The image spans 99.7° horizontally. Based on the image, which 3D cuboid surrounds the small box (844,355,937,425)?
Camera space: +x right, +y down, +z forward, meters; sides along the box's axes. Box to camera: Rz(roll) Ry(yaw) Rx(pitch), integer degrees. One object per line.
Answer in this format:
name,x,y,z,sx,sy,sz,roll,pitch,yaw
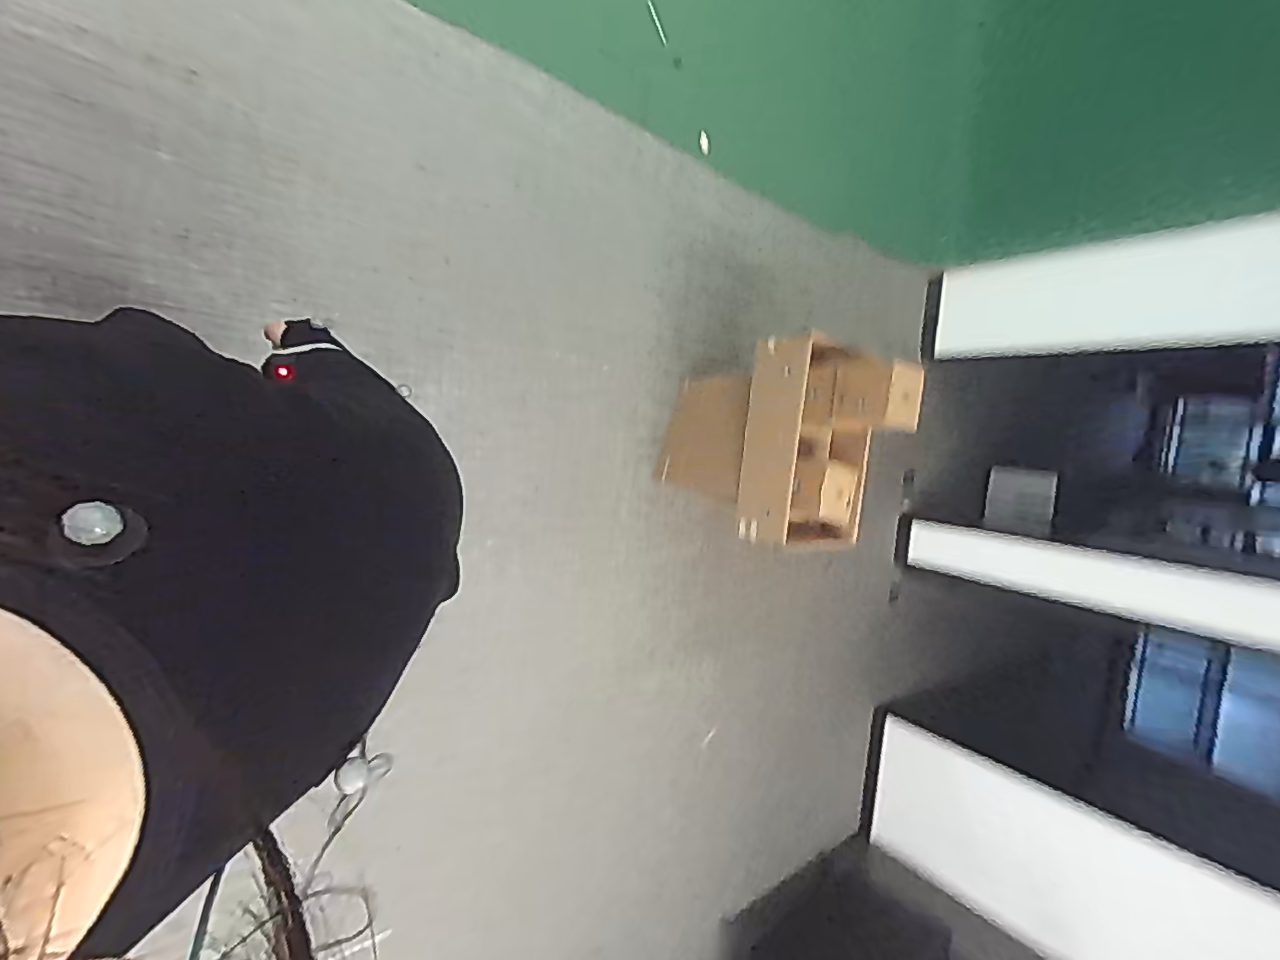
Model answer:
small box,0.692,-0.244,1.504,0.179,0.176,0.168,3,95,-38
